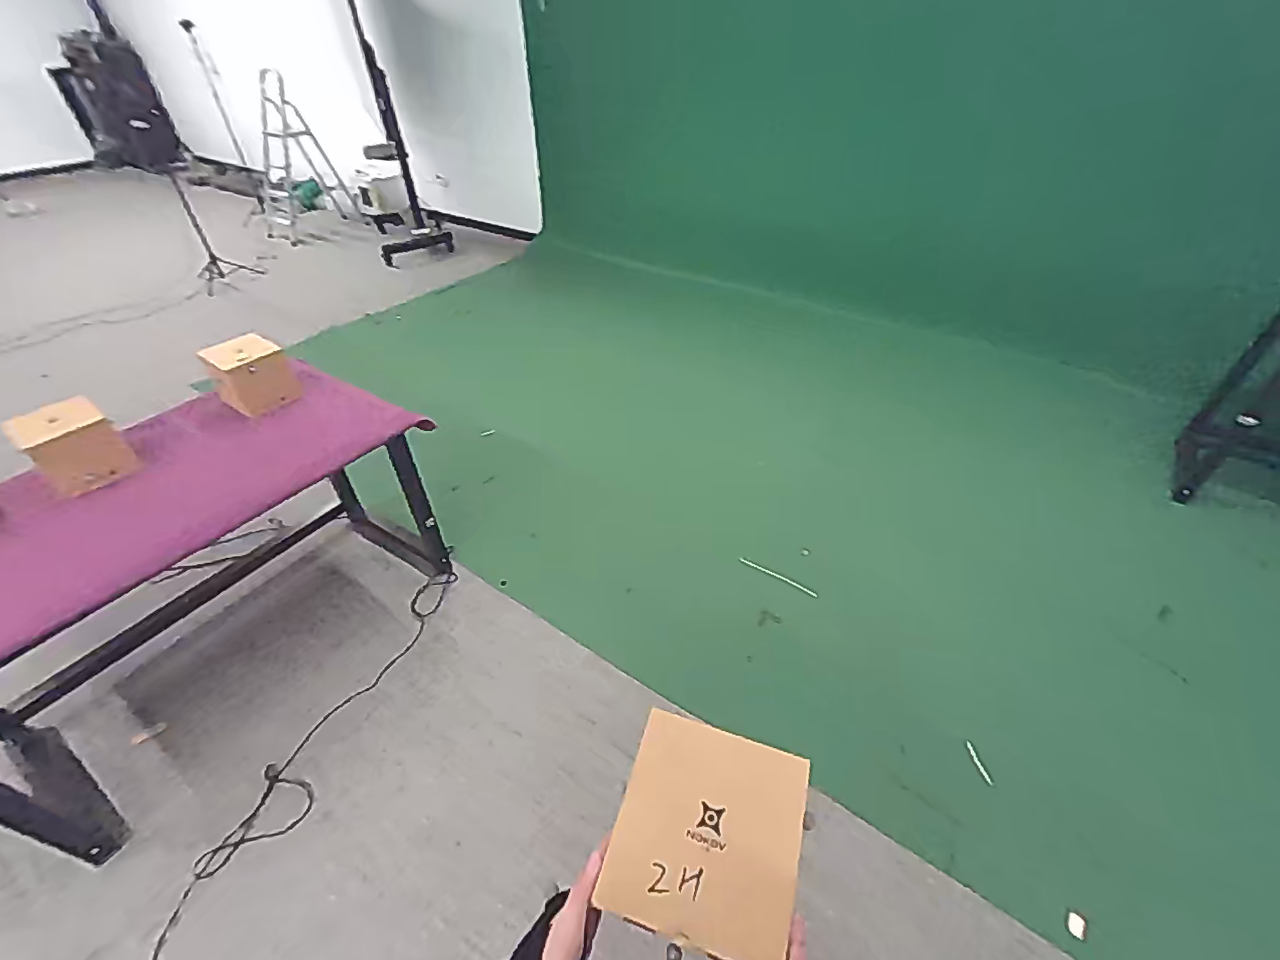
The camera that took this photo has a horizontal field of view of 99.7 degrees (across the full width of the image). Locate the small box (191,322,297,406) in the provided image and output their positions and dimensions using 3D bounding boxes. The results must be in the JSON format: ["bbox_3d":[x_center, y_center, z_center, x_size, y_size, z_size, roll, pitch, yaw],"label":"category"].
[{"bbox_3d":[-1.174,-0.344,1.612,0.179,0.176,0.168,26,49,25],"label":"small box"}]

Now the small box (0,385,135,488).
[{"bbox_3d":[-1.431,-0.107,1.351,0.179,0.176,0.168,28,49,25],"label":"small box"}]

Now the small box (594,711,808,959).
[{"bbox_3d":[0.063,0.374,0.561,0.168,0.176,0.179,14,53,12],"label":"small box"}]
